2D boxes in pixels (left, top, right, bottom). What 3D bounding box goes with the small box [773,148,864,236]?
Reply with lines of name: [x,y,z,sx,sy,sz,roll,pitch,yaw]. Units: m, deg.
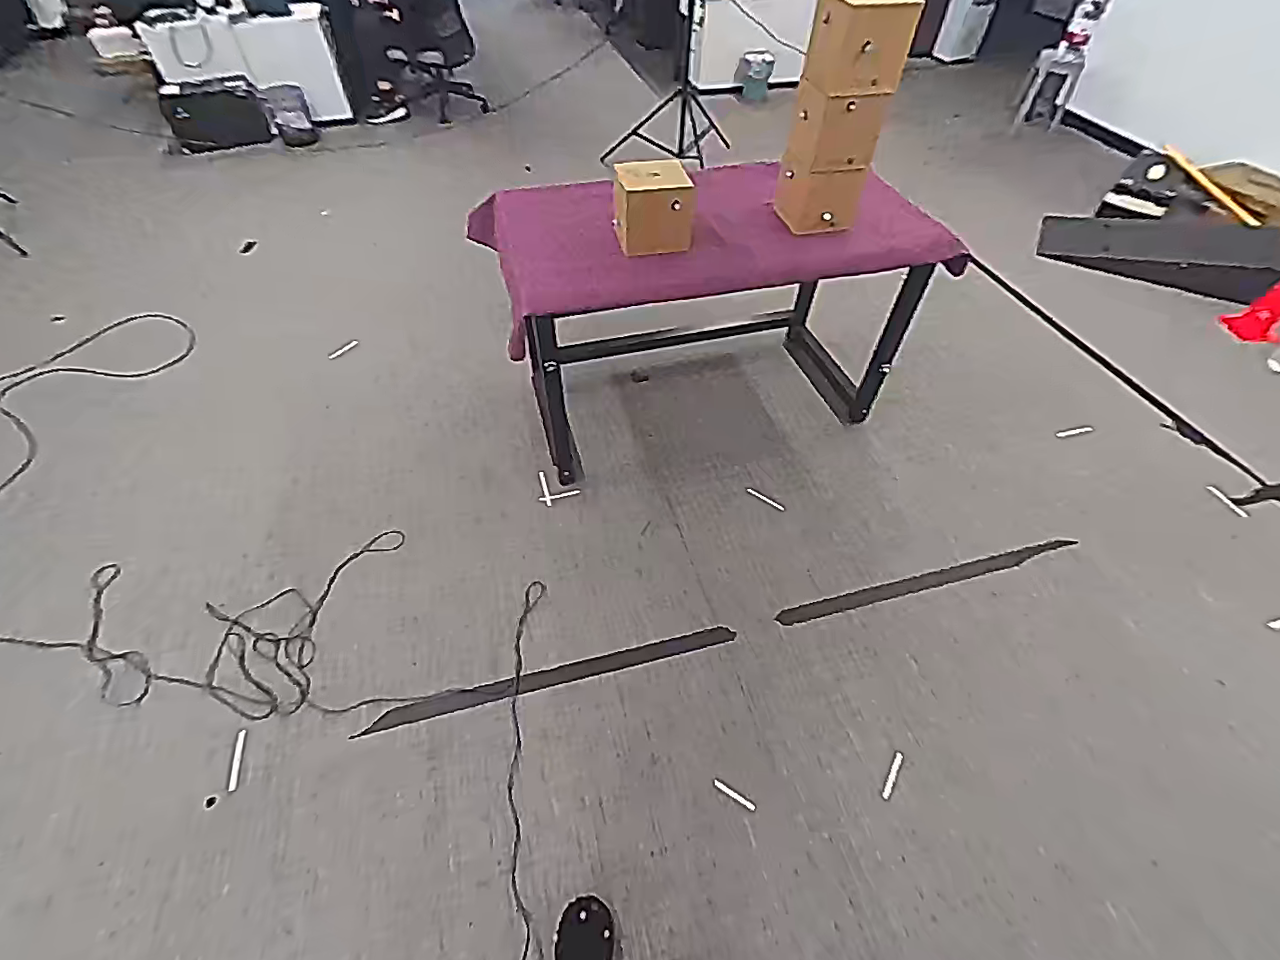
small box: [0.486,-0.806,1.505,0.168,0.176,0.179,-10,53,-8]

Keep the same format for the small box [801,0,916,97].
small box: [0.491,-1.002,1.243,0.168,0.176,0.179,-9,52,-7]

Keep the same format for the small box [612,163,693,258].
small box: [0.027,-0.706,1.420,0.179,0.176,0.168,-10,51,-8]

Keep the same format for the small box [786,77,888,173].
small box: [0.488,-0.905,1.375,0.168,0.176,0.179,-9,51,-7]
